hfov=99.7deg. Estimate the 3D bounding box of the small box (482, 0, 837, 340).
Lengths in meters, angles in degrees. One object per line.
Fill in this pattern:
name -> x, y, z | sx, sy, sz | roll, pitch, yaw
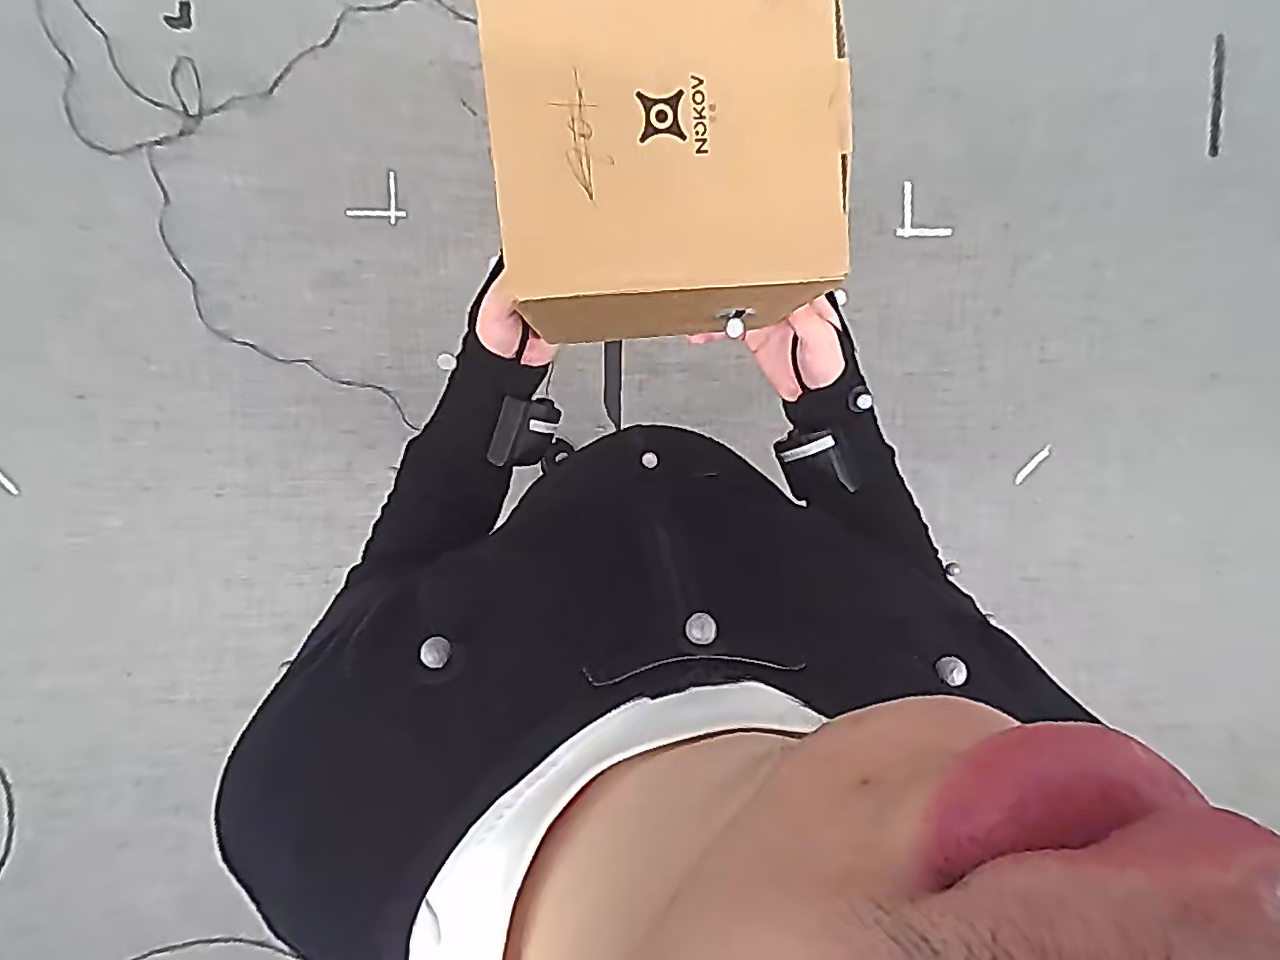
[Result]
small box -> 0.009, -0.191, 0.354 | 0.179, 0.176, 0.168 | -5, 96, -2
